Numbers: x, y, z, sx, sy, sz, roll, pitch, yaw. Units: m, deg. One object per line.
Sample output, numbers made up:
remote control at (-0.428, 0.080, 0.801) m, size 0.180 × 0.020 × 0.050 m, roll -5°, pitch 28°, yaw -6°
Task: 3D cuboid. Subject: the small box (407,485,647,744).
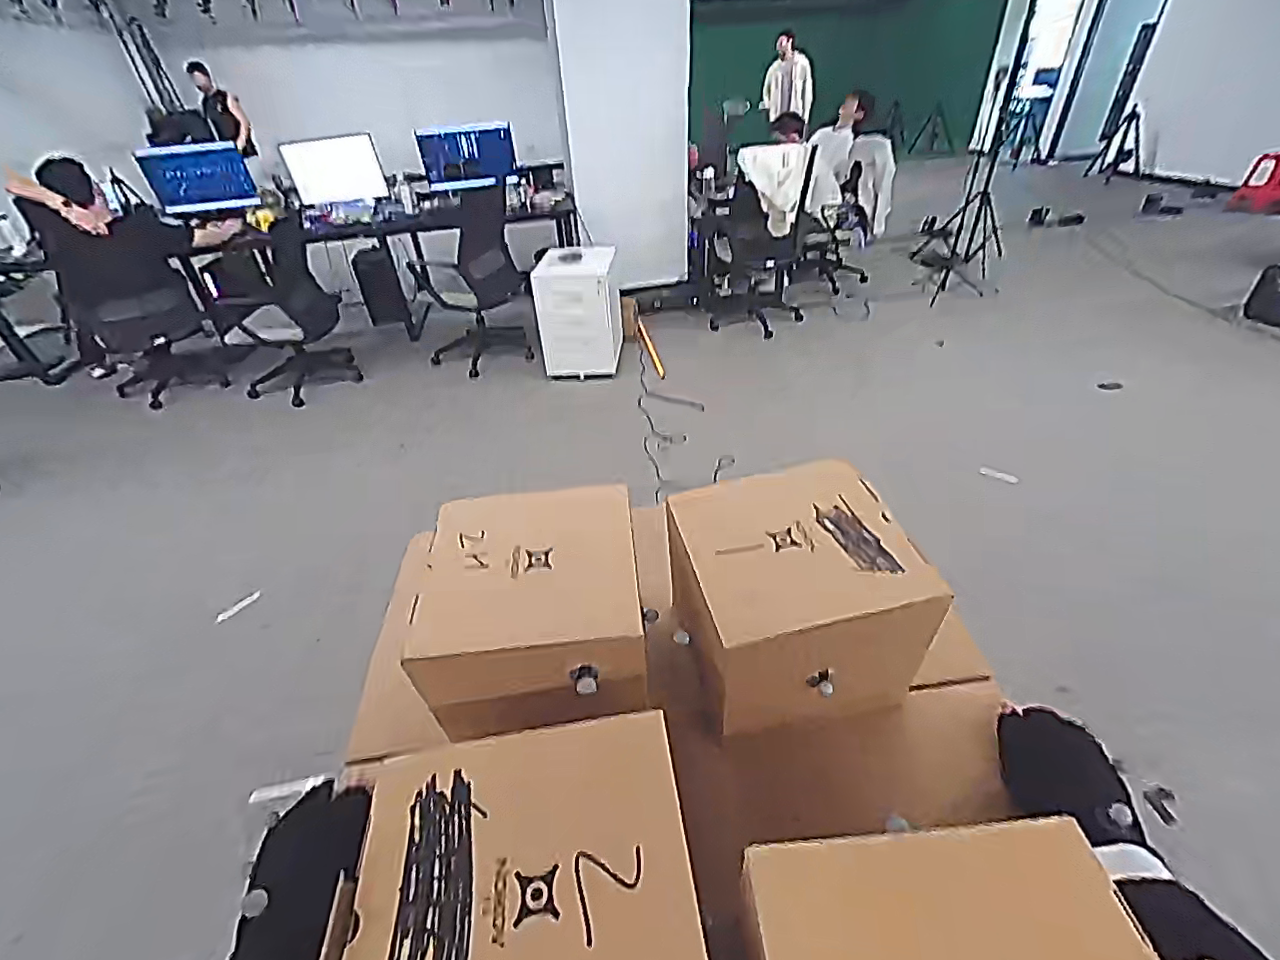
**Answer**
small box at (-0.086, 0.127, 0.512) m, size 0.179 × 0.176 × 0.168 m, roll -7°, pitch 40°, yaw 0°
